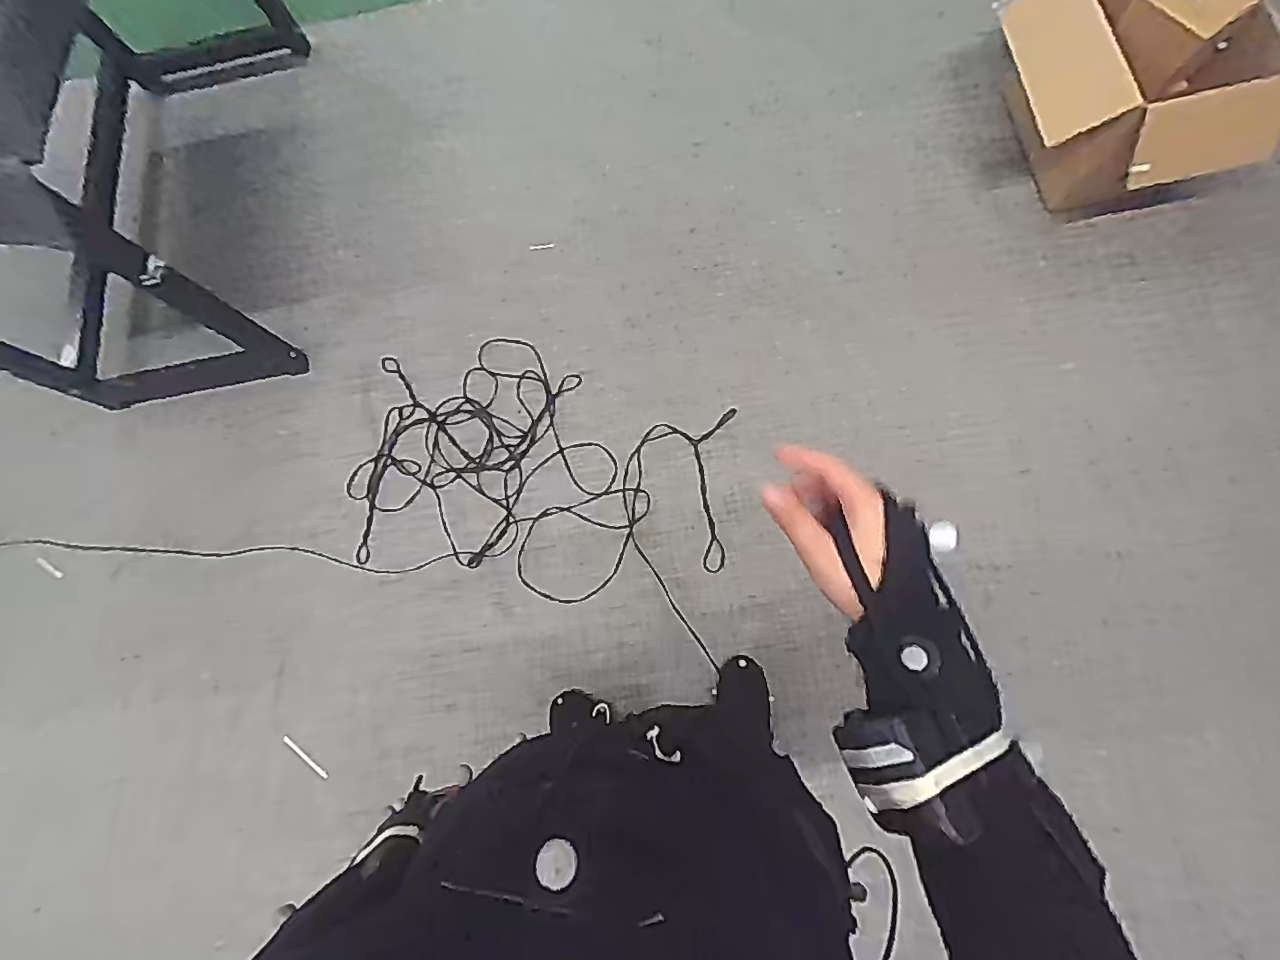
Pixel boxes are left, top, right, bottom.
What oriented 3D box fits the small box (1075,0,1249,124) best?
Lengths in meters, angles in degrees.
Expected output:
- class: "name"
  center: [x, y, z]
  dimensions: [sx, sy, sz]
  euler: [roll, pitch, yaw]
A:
- class: "small box"
  center: [1.112, -0.931, 1.170]
  dimensions: [0.179, 0.176, 0.168]
  euler: [-36, 76, -5]
